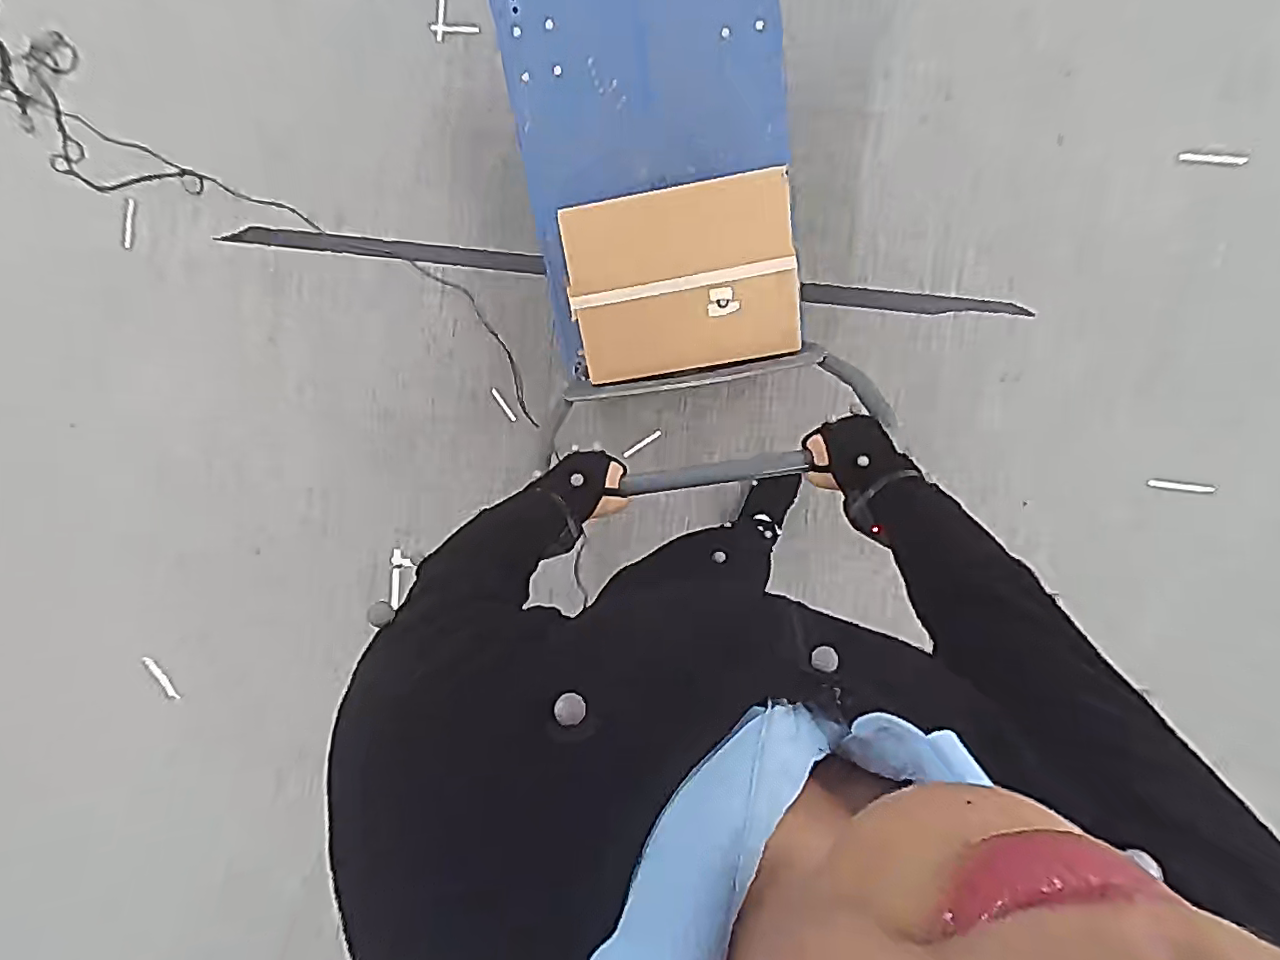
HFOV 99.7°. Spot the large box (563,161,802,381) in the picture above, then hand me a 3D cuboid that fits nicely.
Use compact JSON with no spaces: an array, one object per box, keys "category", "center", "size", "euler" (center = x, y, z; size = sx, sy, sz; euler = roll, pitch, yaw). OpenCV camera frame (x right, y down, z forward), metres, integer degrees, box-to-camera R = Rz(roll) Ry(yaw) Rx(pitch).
[{"category":"large box","center":[0.086,-0.416,1.132],"size":[0.408,0.320,0.320],"euler":[-10,109,5]}]
